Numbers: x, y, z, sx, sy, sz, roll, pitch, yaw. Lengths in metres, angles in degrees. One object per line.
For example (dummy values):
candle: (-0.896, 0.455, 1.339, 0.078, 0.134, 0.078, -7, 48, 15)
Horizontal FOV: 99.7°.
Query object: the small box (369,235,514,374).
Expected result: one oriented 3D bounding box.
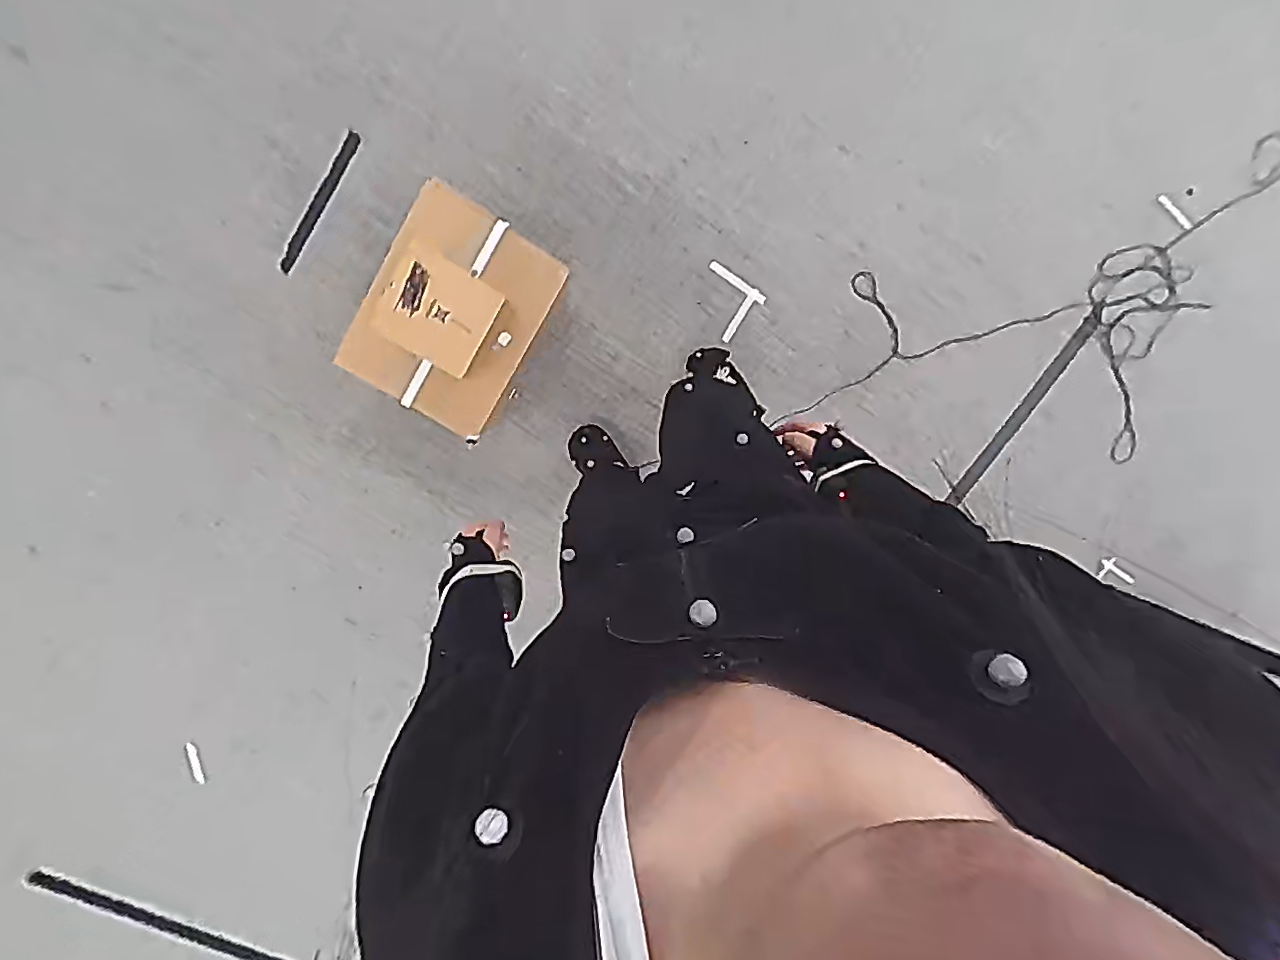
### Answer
small box: (-0.347, -0.306, 0.982, 0.179, 0.176, 0.168, 29, 97, -13)
